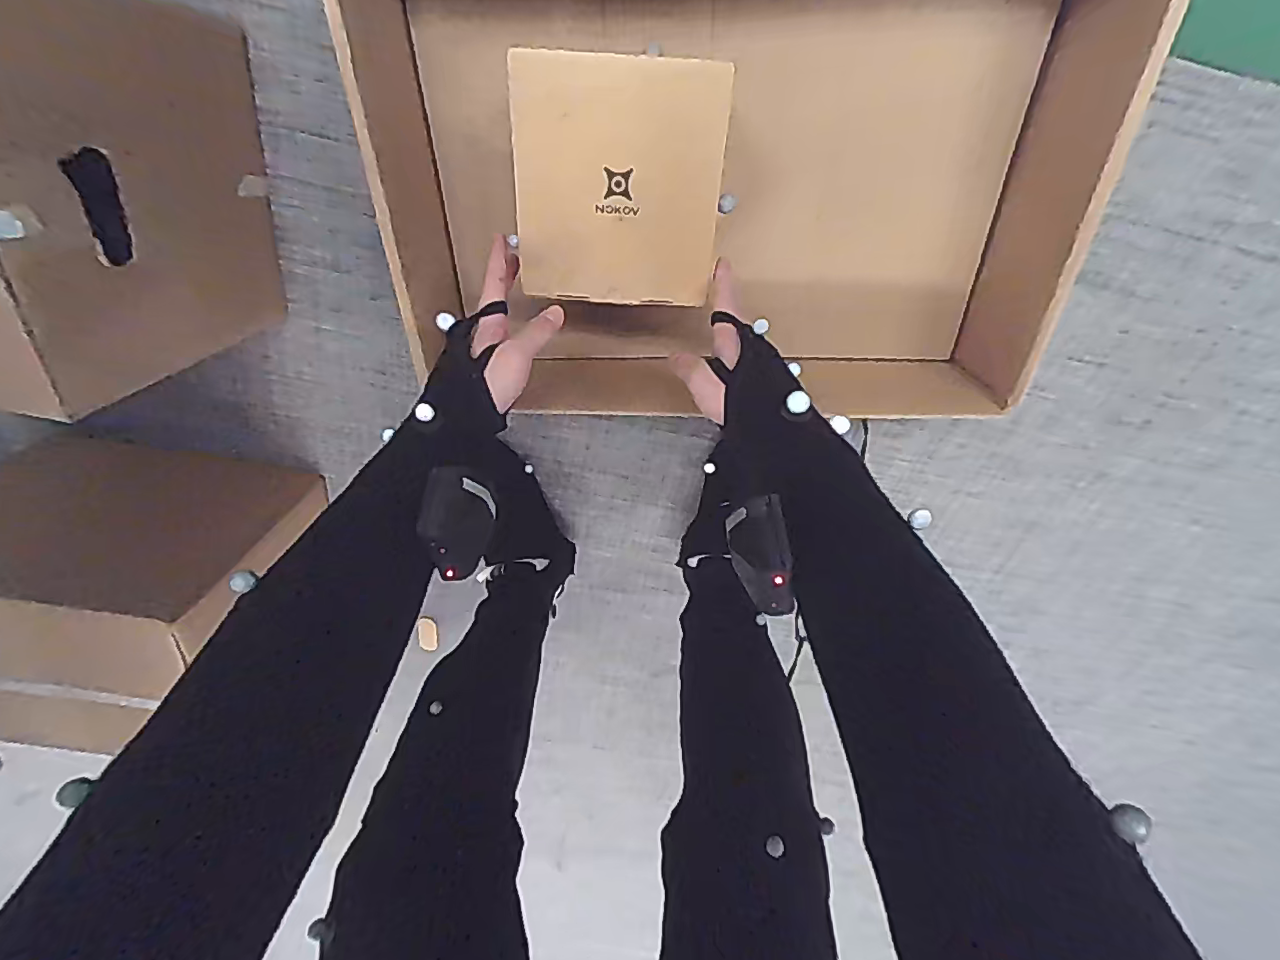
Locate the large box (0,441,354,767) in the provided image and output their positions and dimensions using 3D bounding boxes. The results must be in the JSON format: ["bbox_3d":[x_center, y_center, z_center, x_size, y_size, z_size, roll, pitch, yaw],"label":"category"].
[{"bbox_3d":[-0.712,0.168,0.797,0.408,0.320,0.320,9,121,-1],"label":"large box"}]
